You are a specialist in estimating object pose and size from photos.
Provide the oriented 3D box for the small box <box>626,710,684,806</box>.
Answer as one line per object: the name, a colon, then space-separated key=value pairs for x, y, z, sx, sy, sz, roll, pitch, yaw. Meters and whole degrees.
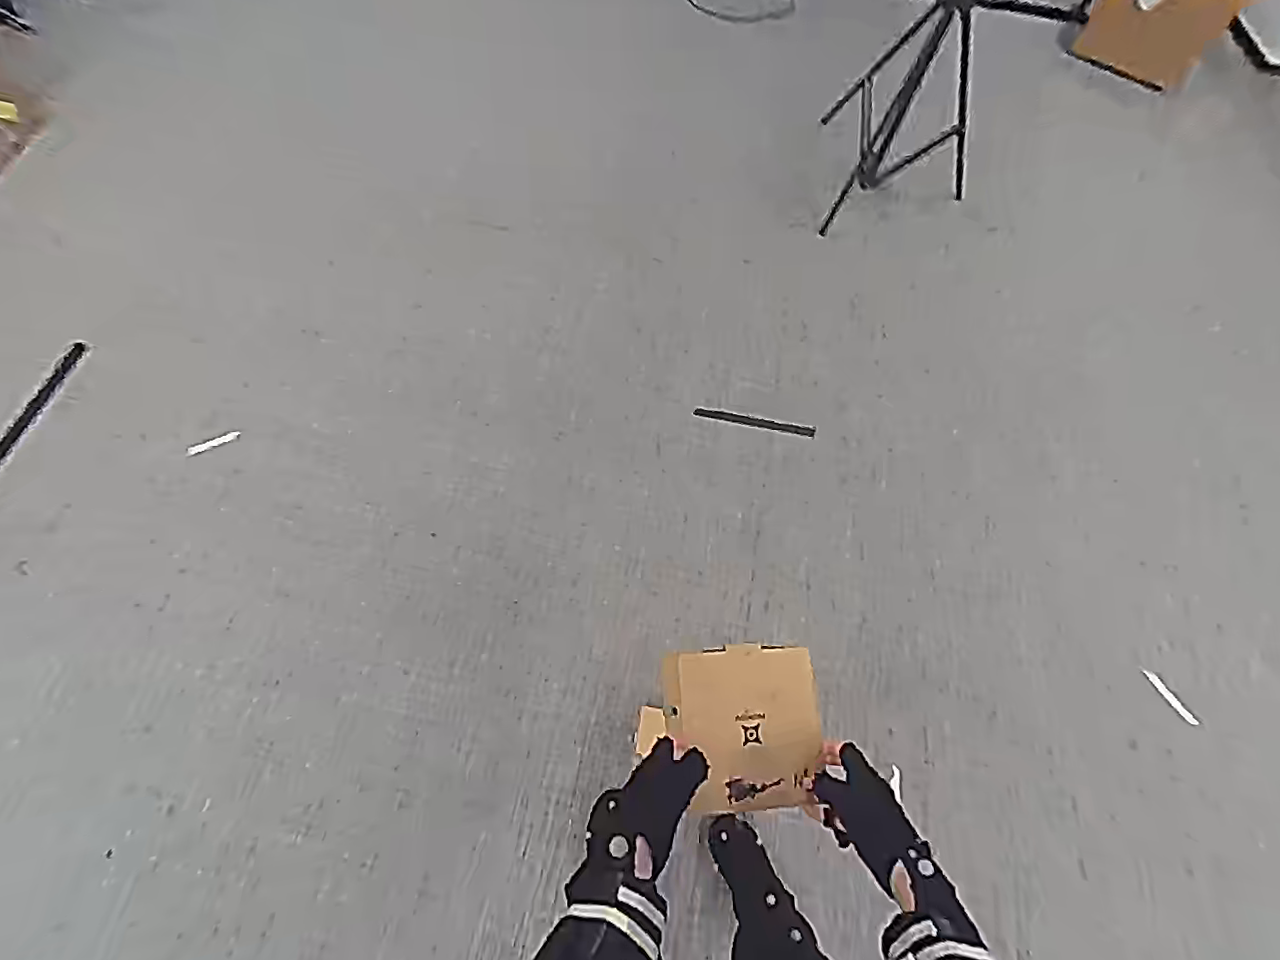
small box: x=0.068 y=0.608 z=1.190 sx=0.179 sy=0.176 sz=0.168 roll=9 pitch=66 yaw=2

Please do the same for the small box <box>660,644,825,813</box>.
small box: x=0.119 y=0.310 z=0.704 sx=0.168 sy=0.176 sz=0.179 roll=-1 pitch=72 yaw=-5
